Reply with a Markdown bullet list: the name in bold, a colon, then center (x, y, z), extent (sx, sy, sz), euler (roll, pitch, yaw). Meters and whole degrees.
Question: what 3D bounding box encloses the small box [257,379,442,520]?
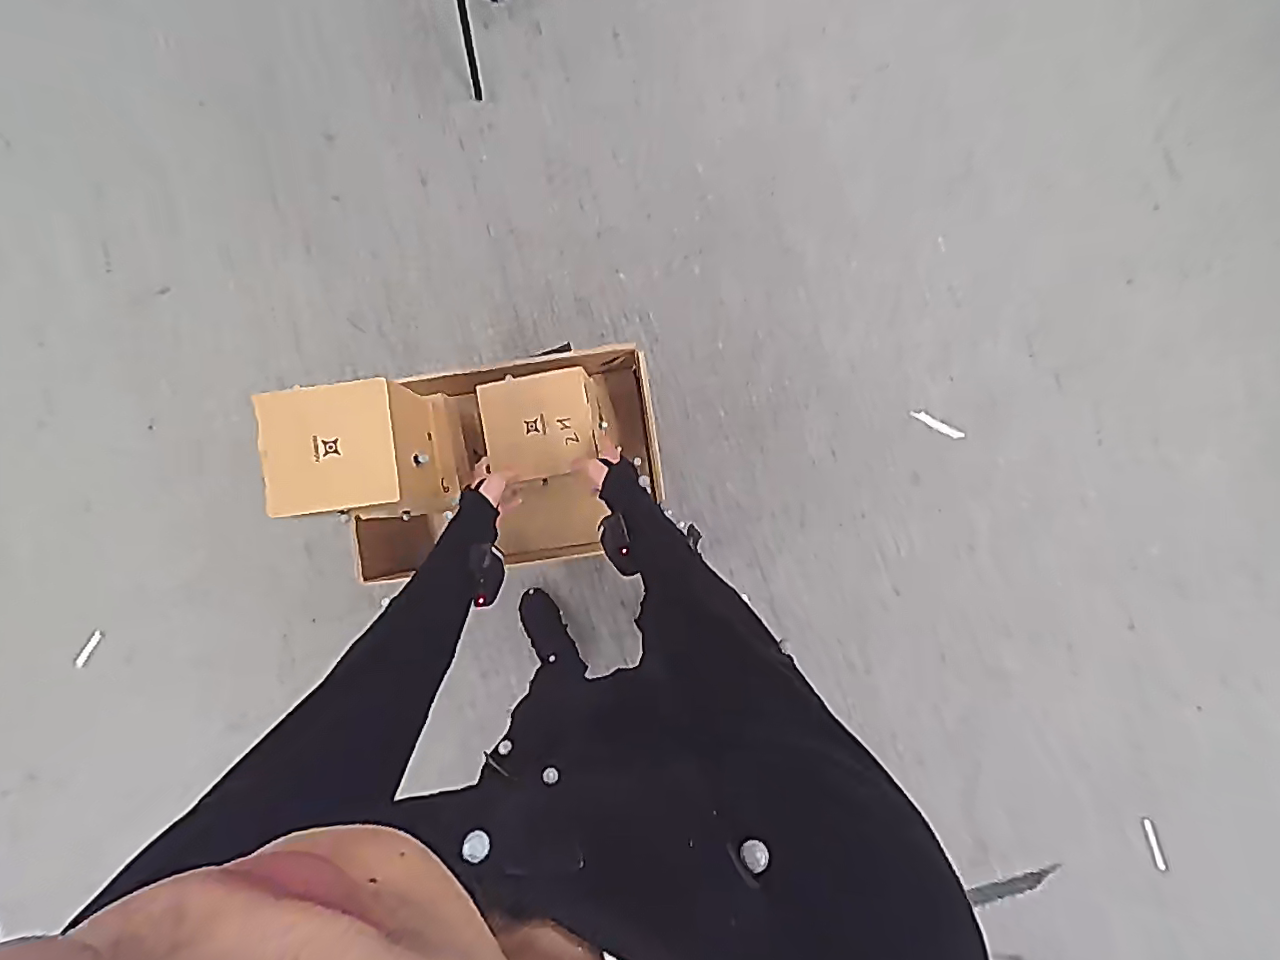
- **small box**: center (-0.399, -0.038, 0.775), extent (0.179, 0.176, 0.168), euler (-8, 87, 0)
